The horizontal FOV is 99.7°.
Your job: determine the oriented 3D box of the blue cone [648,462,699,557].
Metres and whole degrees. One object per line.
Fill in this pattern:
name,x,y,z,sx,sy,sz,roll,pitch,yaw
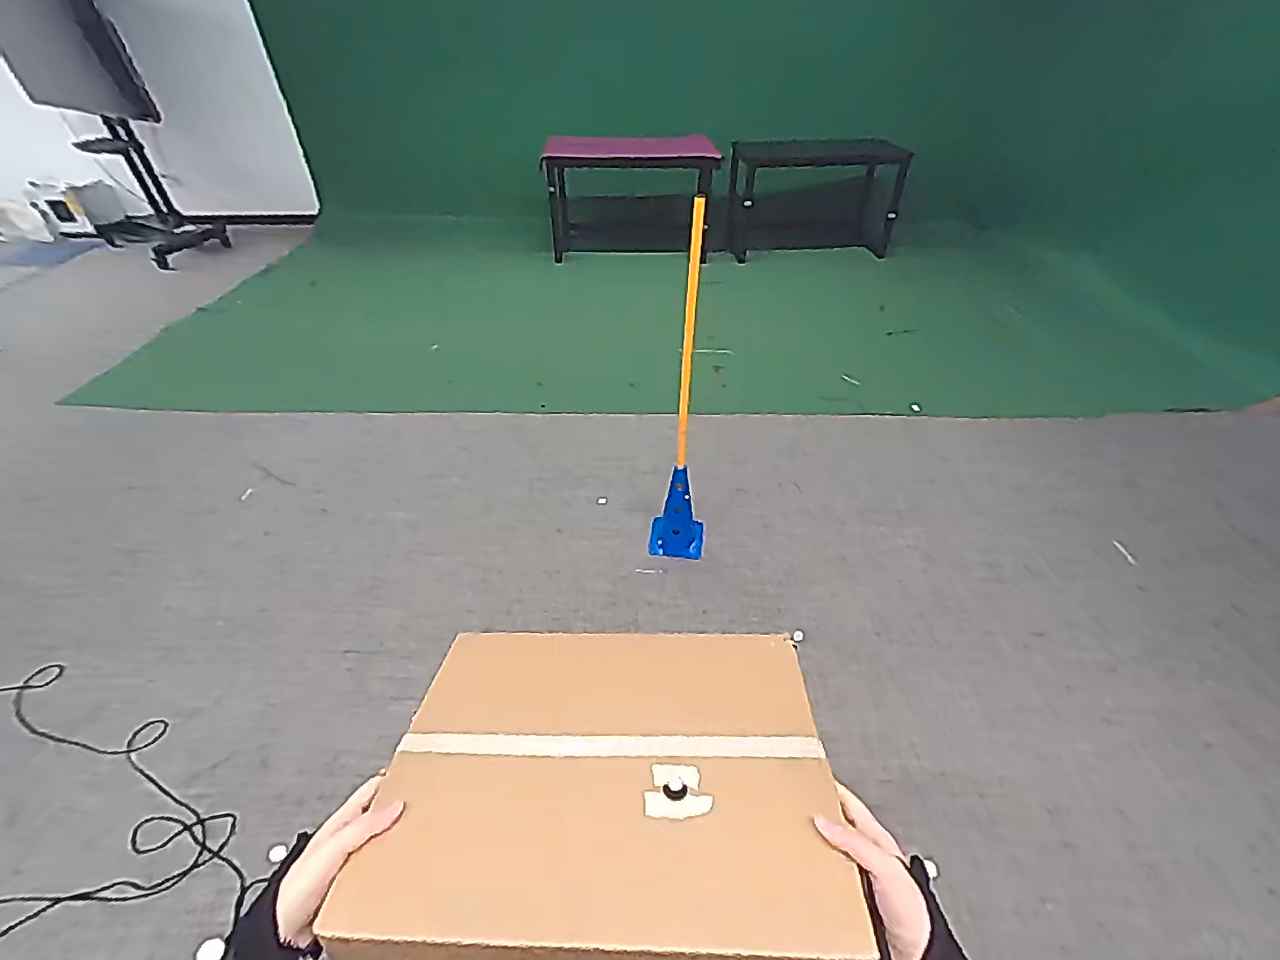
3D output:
blue cone,0.131,0.096,1.973,0.193,0.380,0.192,6,41,7

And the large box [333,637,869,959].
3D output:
large box,-0.025,0.394,0.589,0.408,0.320,0.320,0,27,3
